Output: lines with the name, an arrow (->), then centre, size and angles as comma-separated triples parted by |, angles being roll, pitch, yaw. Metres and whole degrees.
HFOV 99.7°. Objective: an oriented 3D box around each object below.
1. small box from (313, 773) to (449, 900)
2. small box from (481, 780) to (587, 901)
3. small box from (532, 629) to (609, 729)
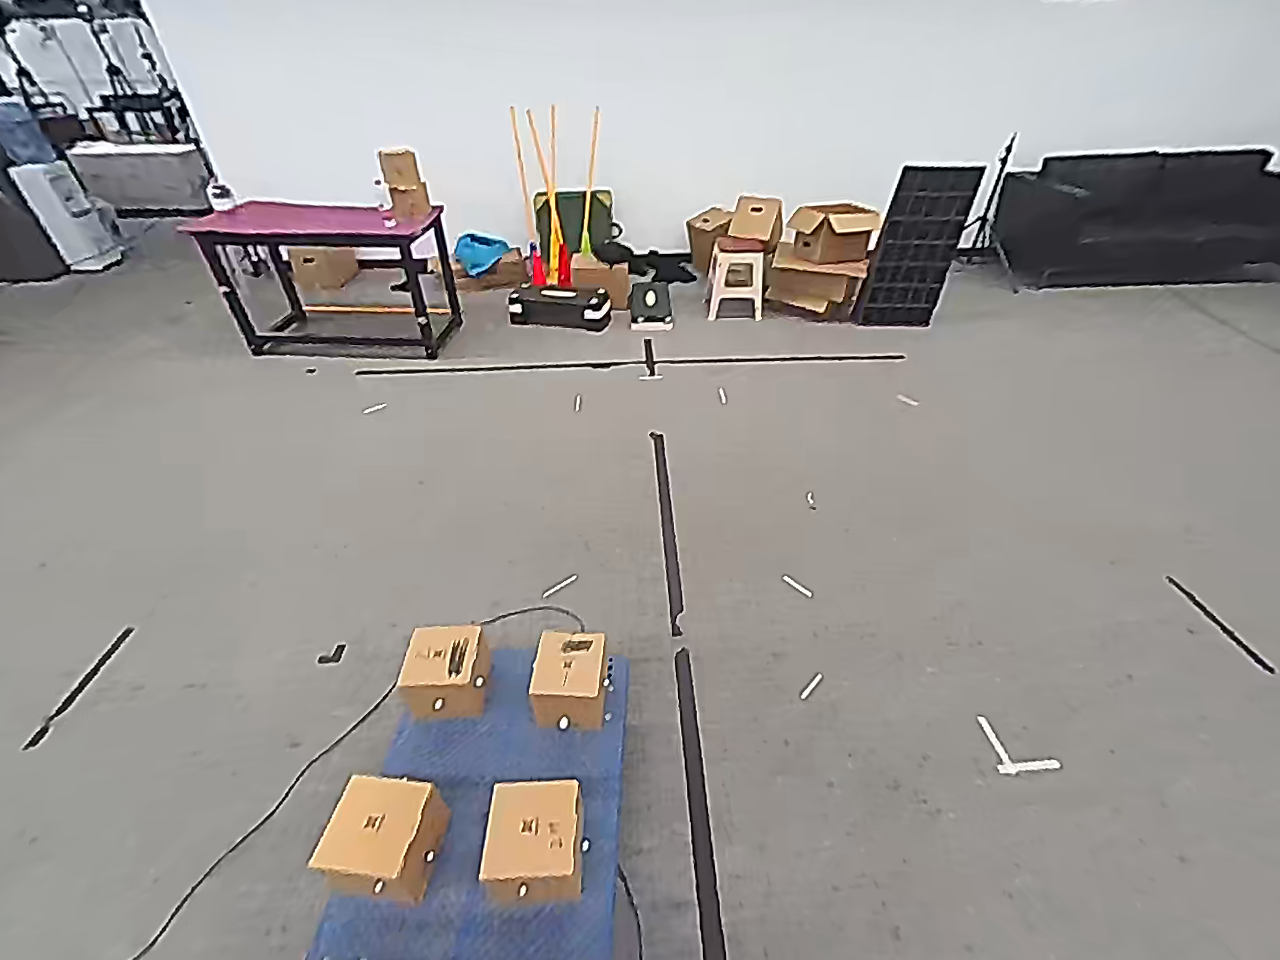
small box -> -0.515, 0.729, 1.105 | 0.179, 0.176, 0.168 | 5, 39, 4
small box -> -0.205, 0.733, 1.099 | 0.179, 0.176, 0.168 | -1, 39, -1
small box -> -0.169, 0.507, 1.379 | 0.168, 0.176, 0.179 | 2, 40, 3
